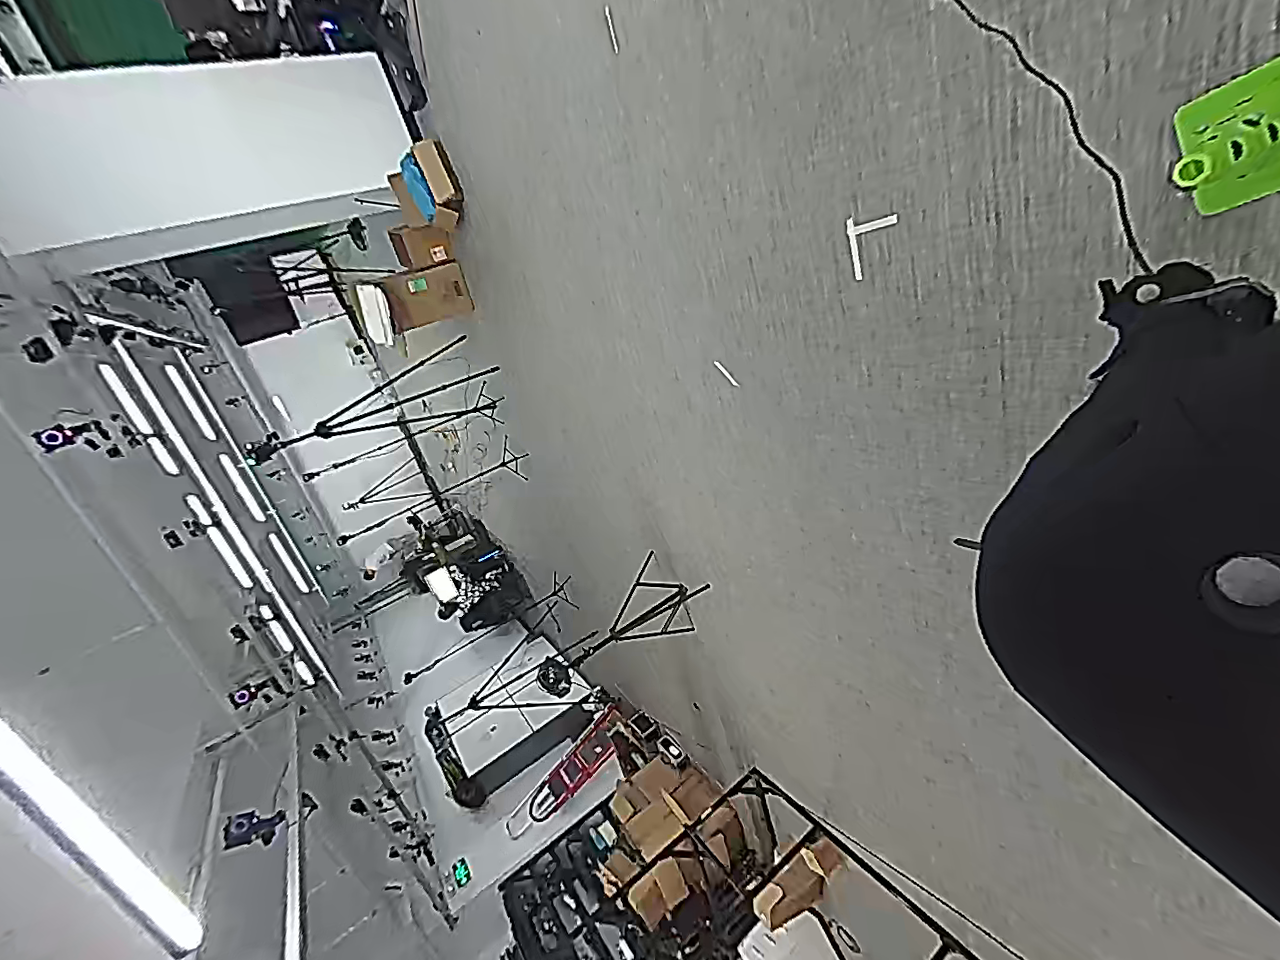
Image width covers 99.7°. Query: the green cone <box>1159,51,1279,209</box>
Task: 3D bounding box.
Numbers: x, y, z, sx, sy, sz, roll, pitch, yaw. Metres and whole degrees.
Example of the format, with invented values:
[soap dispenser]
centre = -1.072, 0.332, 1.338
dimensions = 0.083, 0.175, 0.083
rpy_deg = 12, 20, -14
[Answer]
[green cone]
centre = 0.890, -0.509, 0.815
dimensions = 0.202, 0.368, 0.200
rpy_deg = -8, 107, 65
